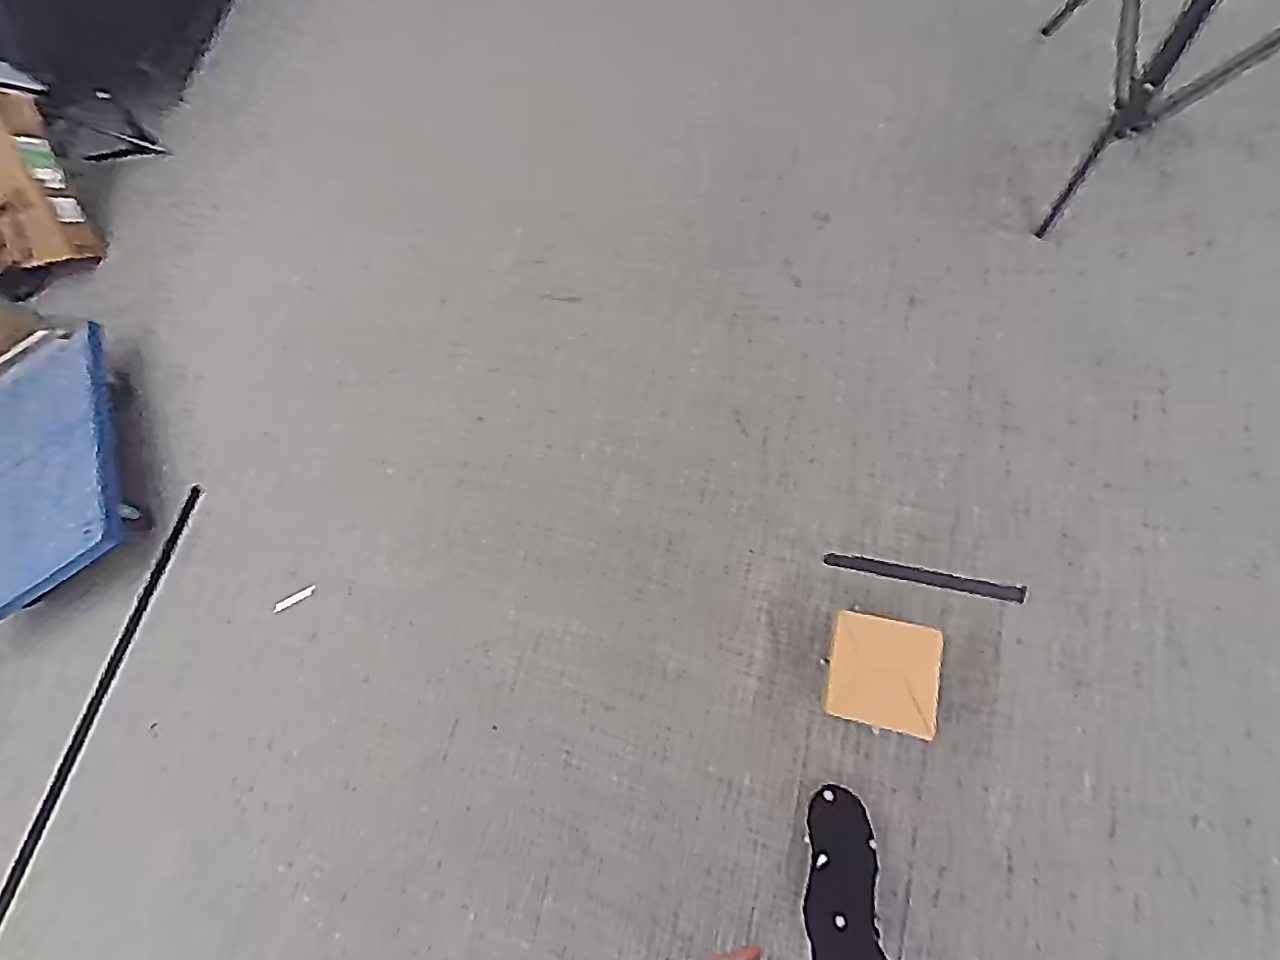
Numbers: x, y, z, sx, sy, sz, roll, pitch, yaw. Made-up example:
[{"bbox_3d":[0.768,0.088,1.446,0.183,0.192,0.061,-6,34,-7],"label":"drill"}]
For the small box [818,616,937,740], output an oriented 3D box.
[{"bbox_3d":[0.424,0.348,0.979,0.168,0.176,0.179,9,76,18],"label":"small box"}]
